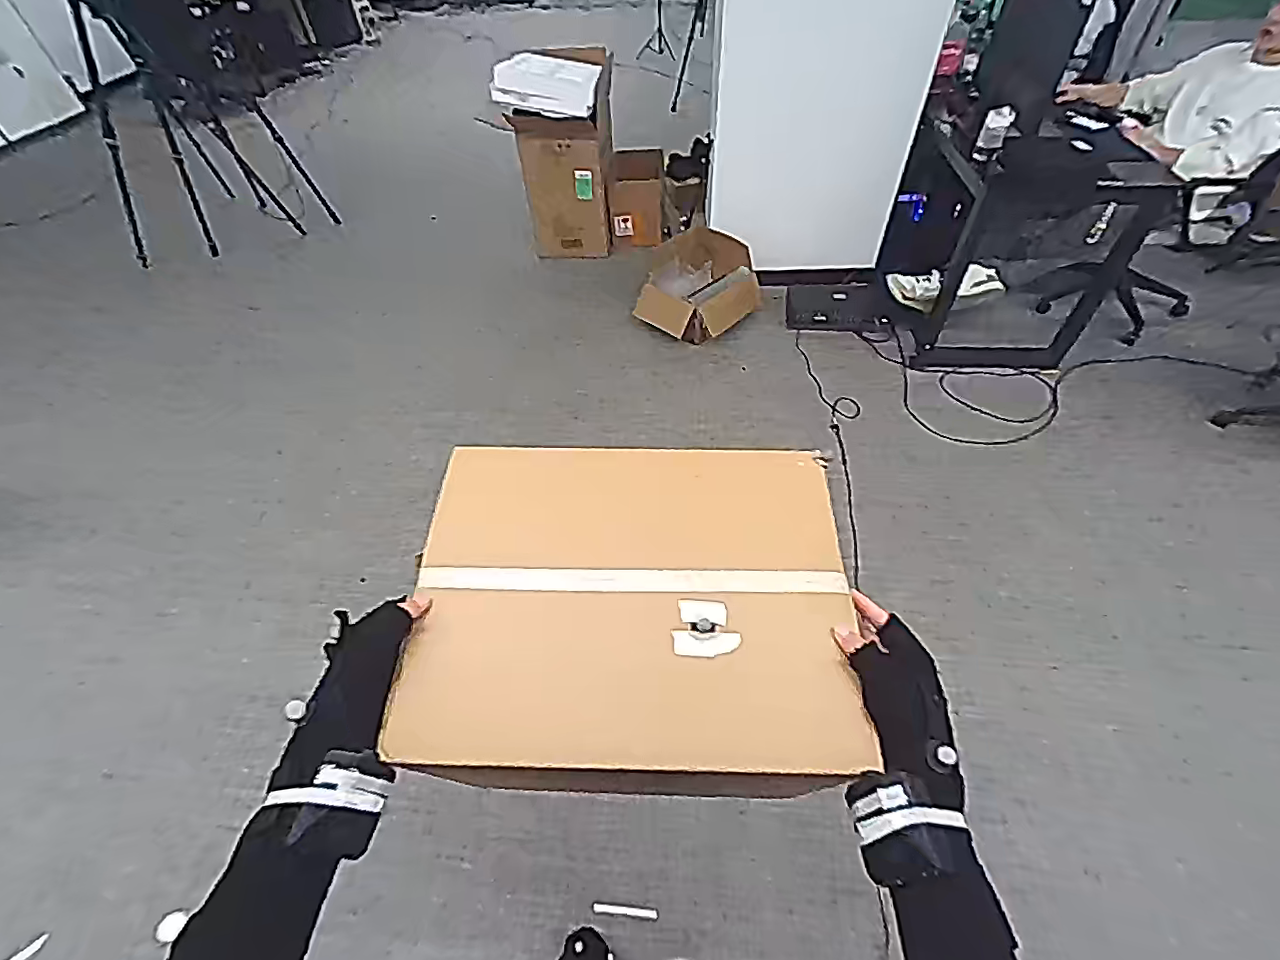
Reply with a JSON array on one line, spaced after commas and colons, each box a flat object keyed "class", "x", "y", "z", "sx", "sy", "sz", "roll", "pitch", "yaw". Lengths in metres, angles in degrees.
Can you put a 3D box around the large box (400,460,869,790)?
[{"class": "large box", "x": -0.004, "y": 0.188, "z": 0.655, "sx": 0.408, "sy": 0.320, "sz": 0.320, "roll": 1, "pitch": 58, "yaw": 1}]
